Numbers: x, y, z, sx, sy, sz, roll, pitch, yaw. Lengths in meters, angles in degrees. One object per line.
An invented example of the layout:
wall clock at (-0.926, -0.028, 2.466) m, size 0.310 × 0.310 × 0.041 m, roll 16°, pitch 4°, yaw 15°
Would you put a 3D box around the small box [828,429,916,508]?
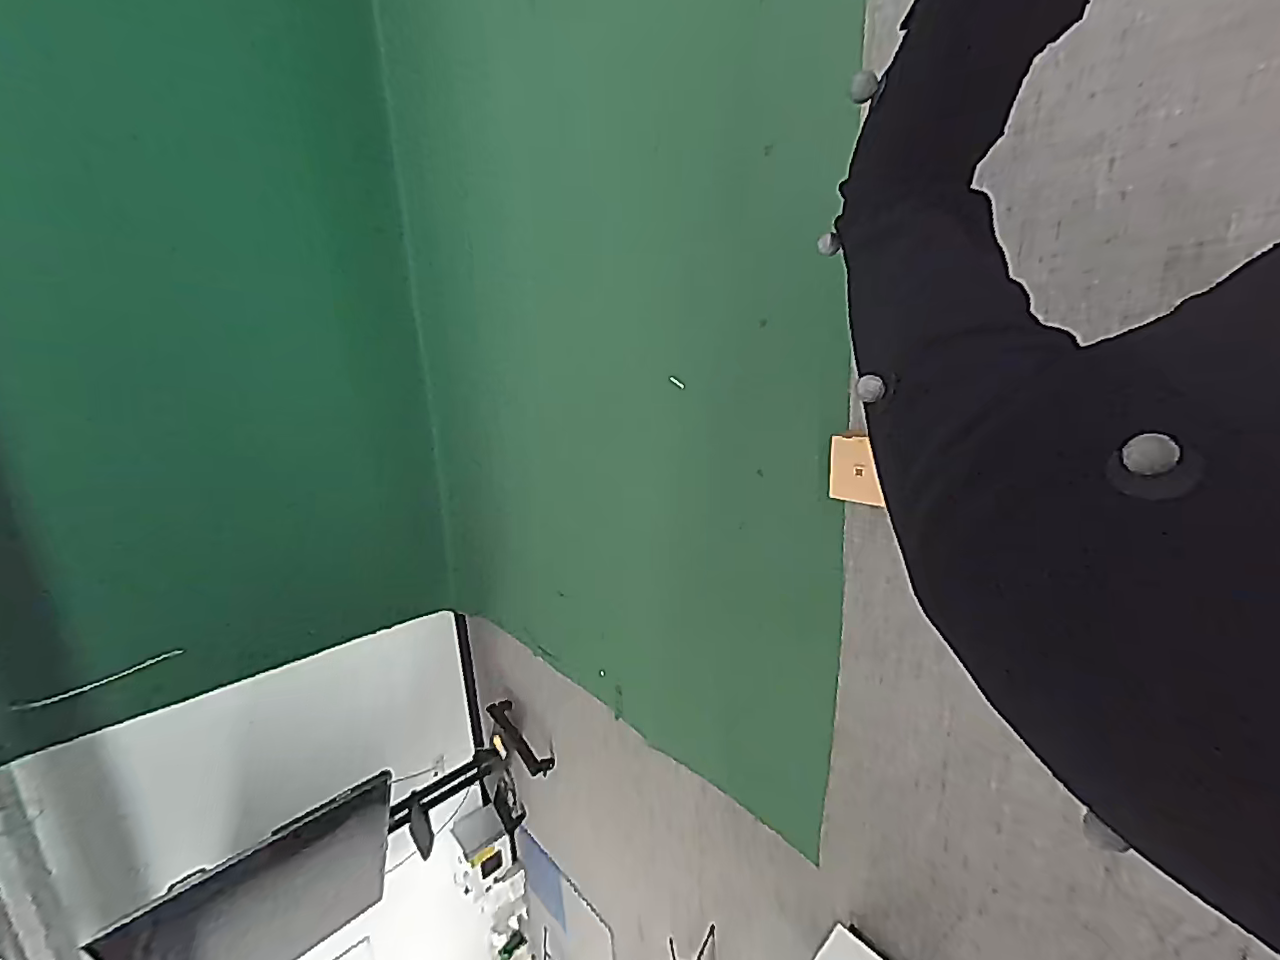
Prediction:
small box at (0.631, -0.038, 1.467) m, size 0.168 × 0.176 × 0.179 m, roll 11°, pitch 108°, yaw 46°
